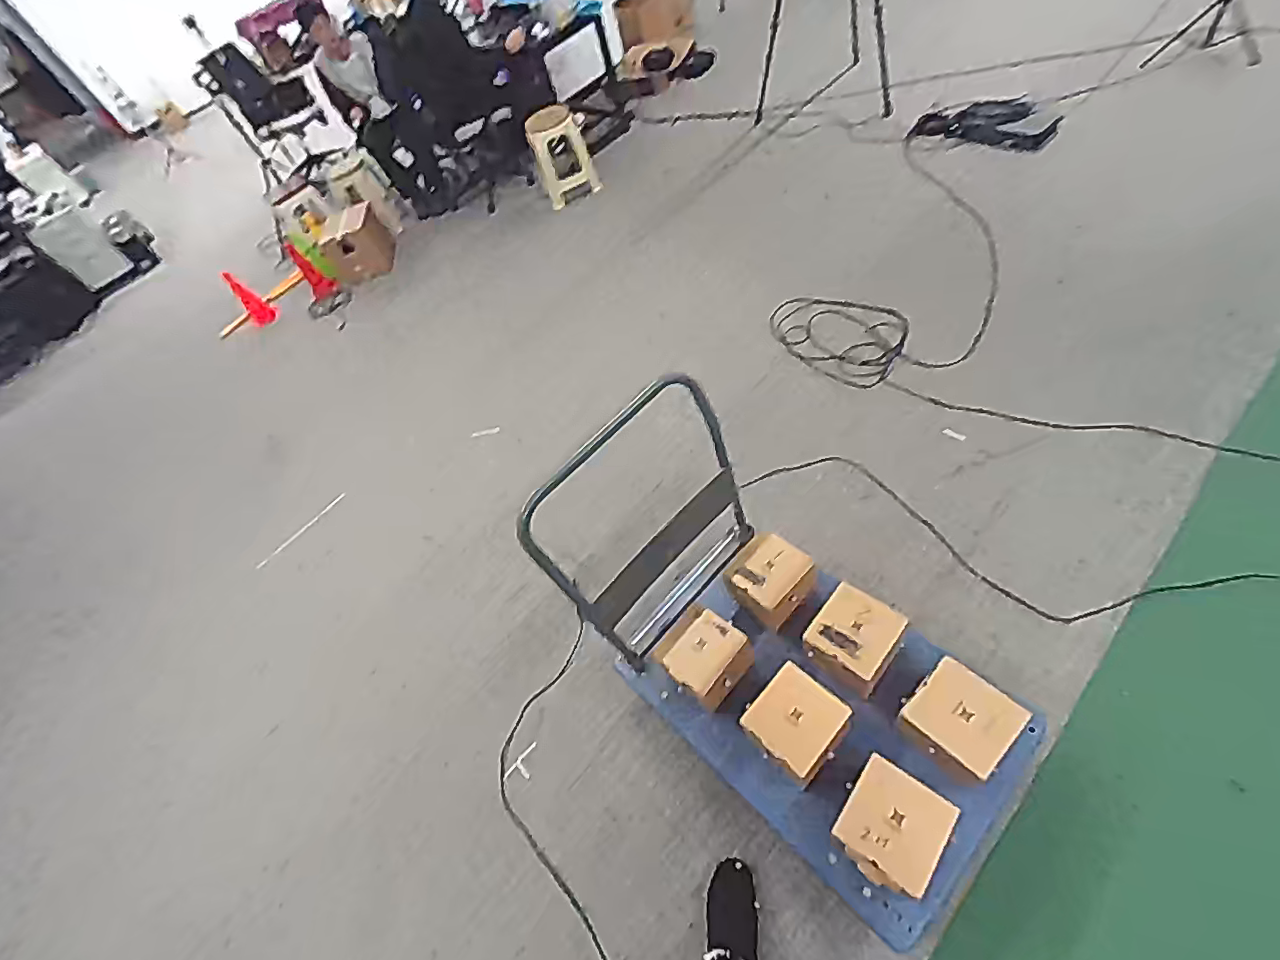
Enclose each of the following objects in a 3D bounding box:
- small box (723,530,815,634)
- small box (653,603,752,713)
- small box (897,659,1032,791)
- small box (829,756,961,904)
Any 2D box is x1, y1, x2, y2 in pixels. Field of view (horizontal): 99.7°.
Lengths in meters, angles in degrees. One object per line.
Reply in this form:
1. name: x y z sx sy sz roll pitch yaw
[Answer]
1. small box: 0.345 0.273 1.424 0.179 0.176 0.168 -42 53 -15
2. small box: 0.164 0.449 1.351 0.168 0.176 0.179 32 70 34
3. small box: 0.666 0.518 1.135 0.168 0.176 0.179 -42 53 -13
4. small box: 0.491 0.686 1.063 0.179 0.176 0.168 -45 51 -15
